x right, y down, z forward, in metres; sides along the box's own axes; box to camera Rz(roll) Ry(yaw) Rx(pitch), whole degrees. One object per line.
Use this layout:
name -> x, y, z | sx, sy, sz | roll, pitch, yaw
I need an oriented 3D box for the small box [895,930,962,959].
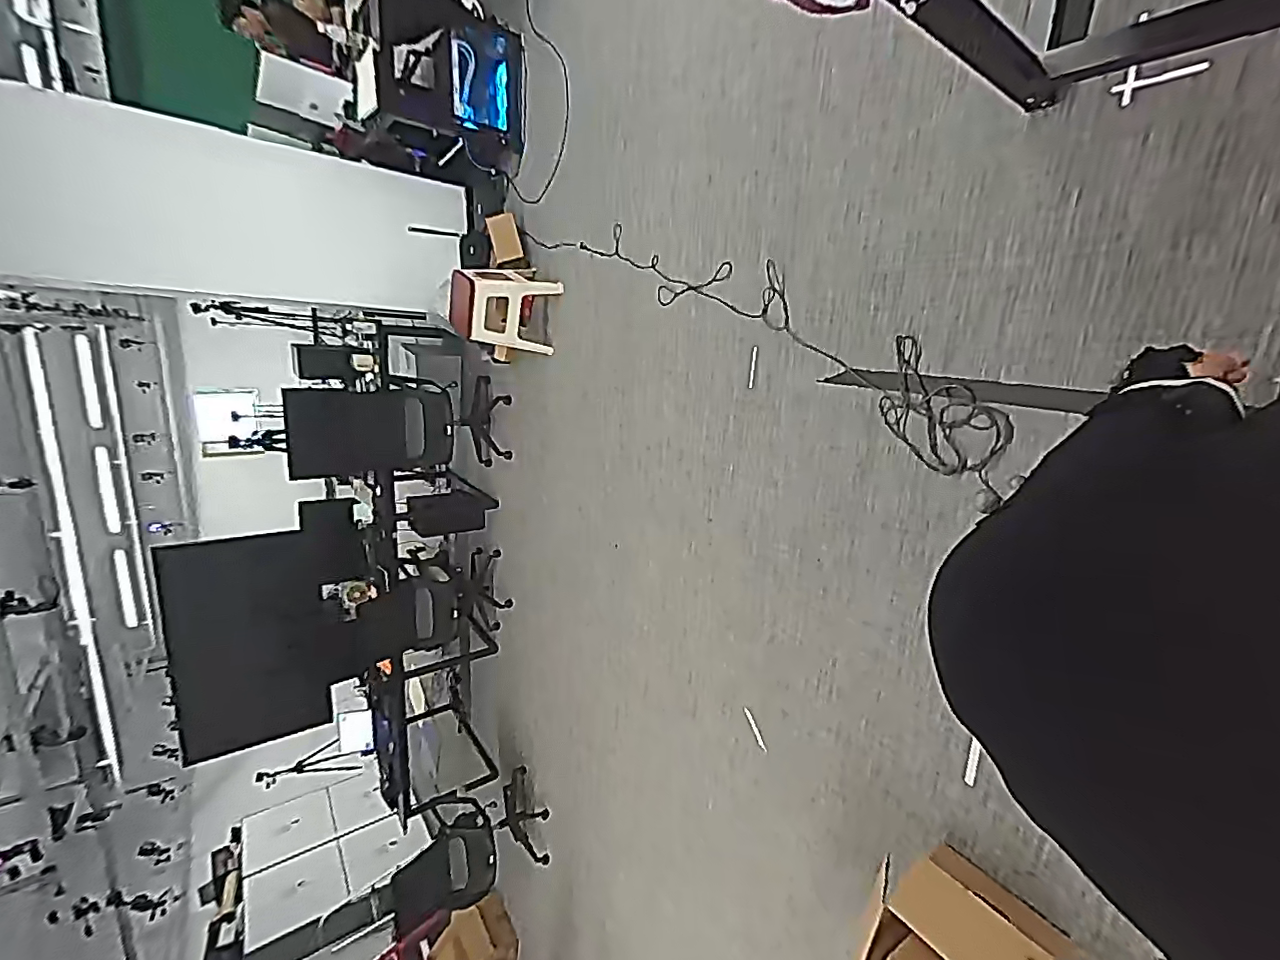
small box -> 0.683, 1.220, 1.261 | 0.168, 0.176, 0.179 | 33, 122, 50
